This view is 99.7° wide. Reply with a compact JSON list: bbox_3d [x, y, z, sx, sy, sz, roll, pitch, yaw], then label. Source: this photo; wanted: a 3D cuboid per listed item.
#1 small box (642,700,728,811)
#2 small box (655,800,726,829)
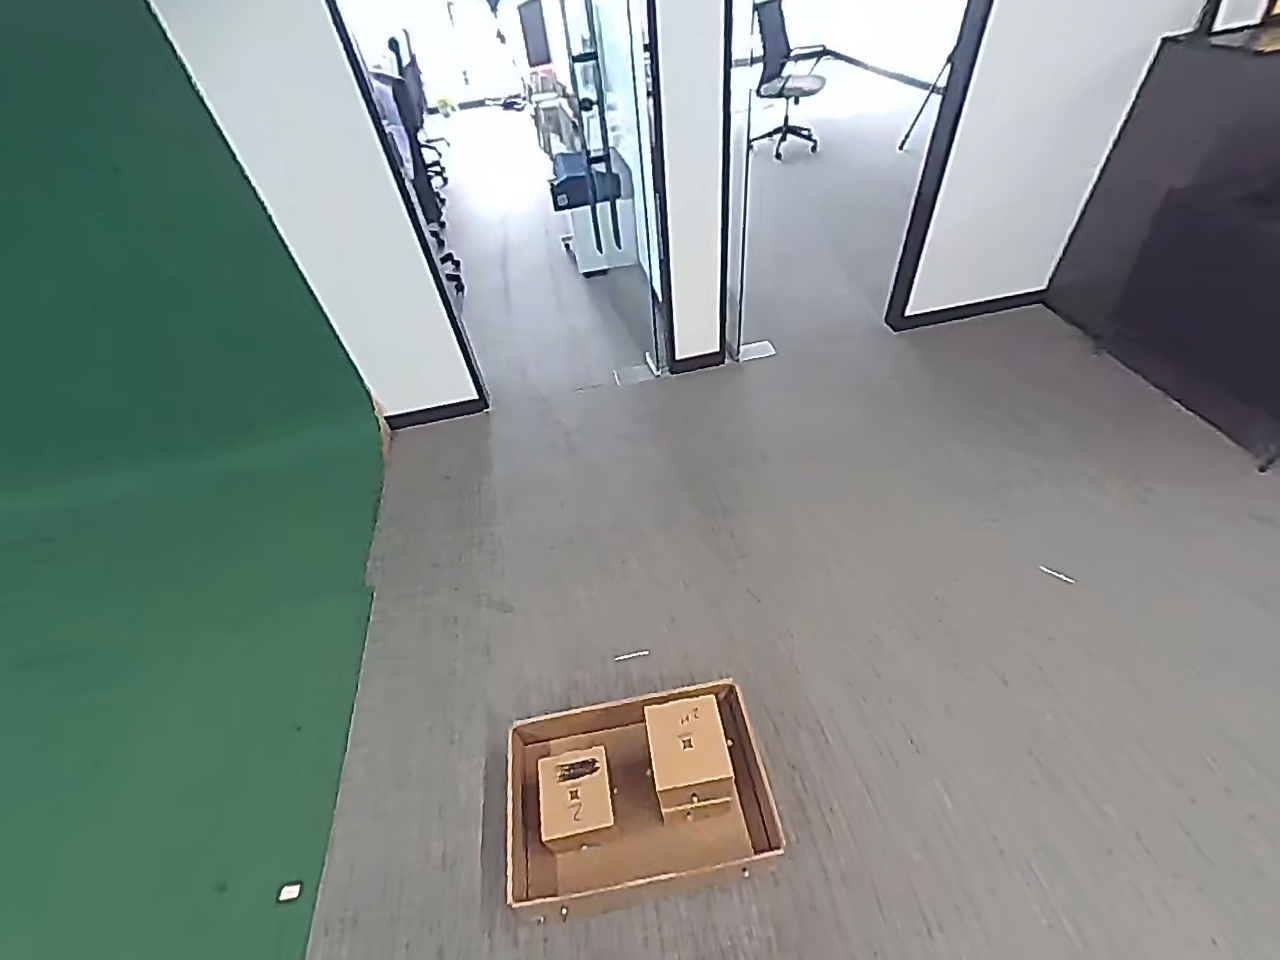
[{"bbox_3d":[0.102,0.627,1.221,0.168,0.176,0.179,-9,46,-1],"label":"small box"},{"bbox_3d":[0.116,0.743,1.338,0.168,0.176,0.179,-10,46,-2],"label":"small box"}]
